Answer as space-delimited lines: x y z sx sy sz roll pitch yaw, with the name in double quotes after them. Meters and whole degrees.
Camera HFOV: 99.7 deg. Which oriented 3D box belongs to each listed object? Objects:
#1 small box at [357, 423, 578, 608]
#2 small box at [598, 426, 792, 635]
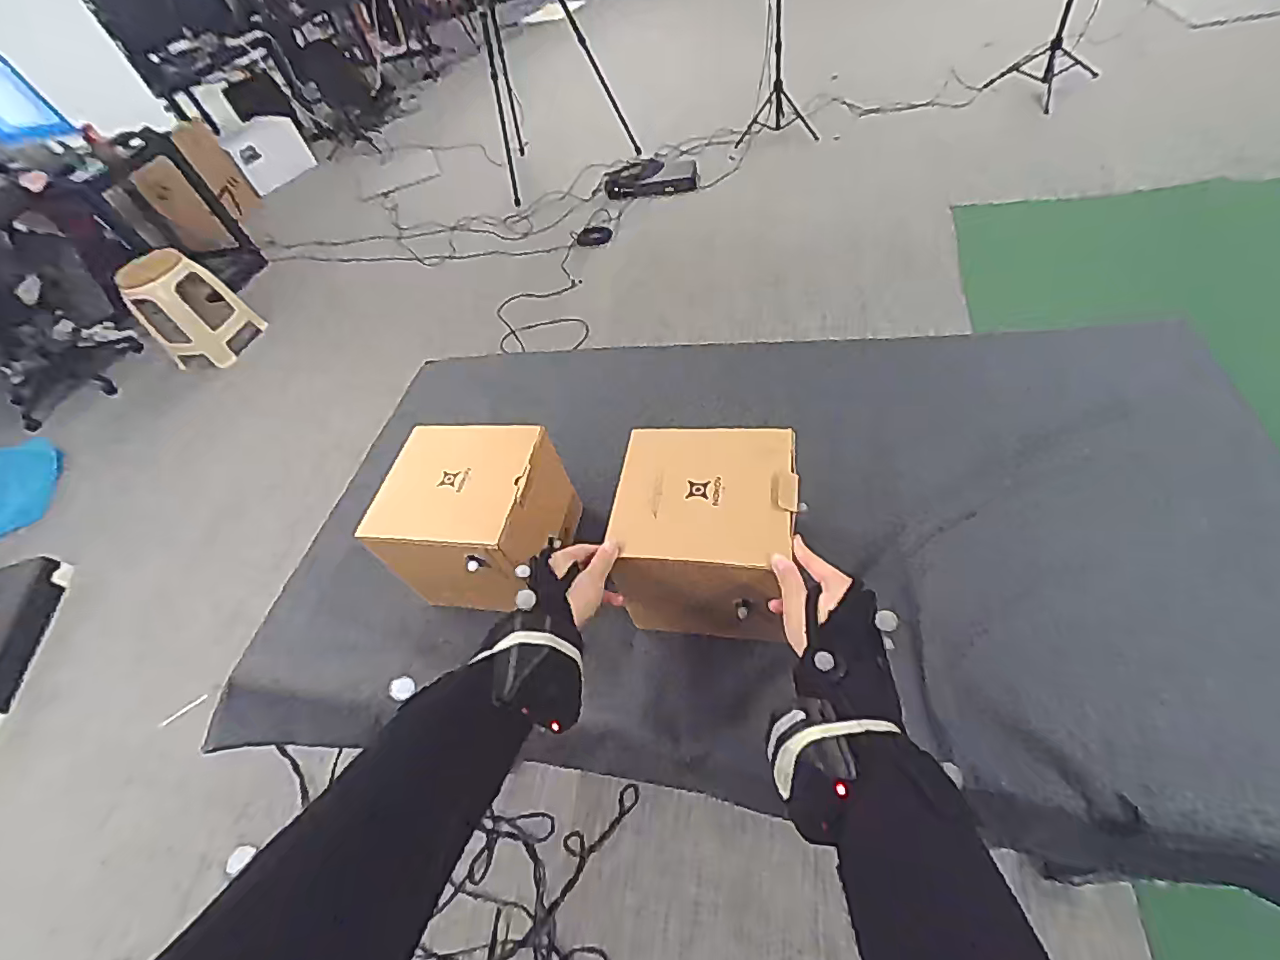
-0.196 0.047 0.671 0.179 0.176 0.168 1 52 14 "small box"
0.074 0.058 0.593 0.179 0.176 0.168 0 51 16 "small box"
